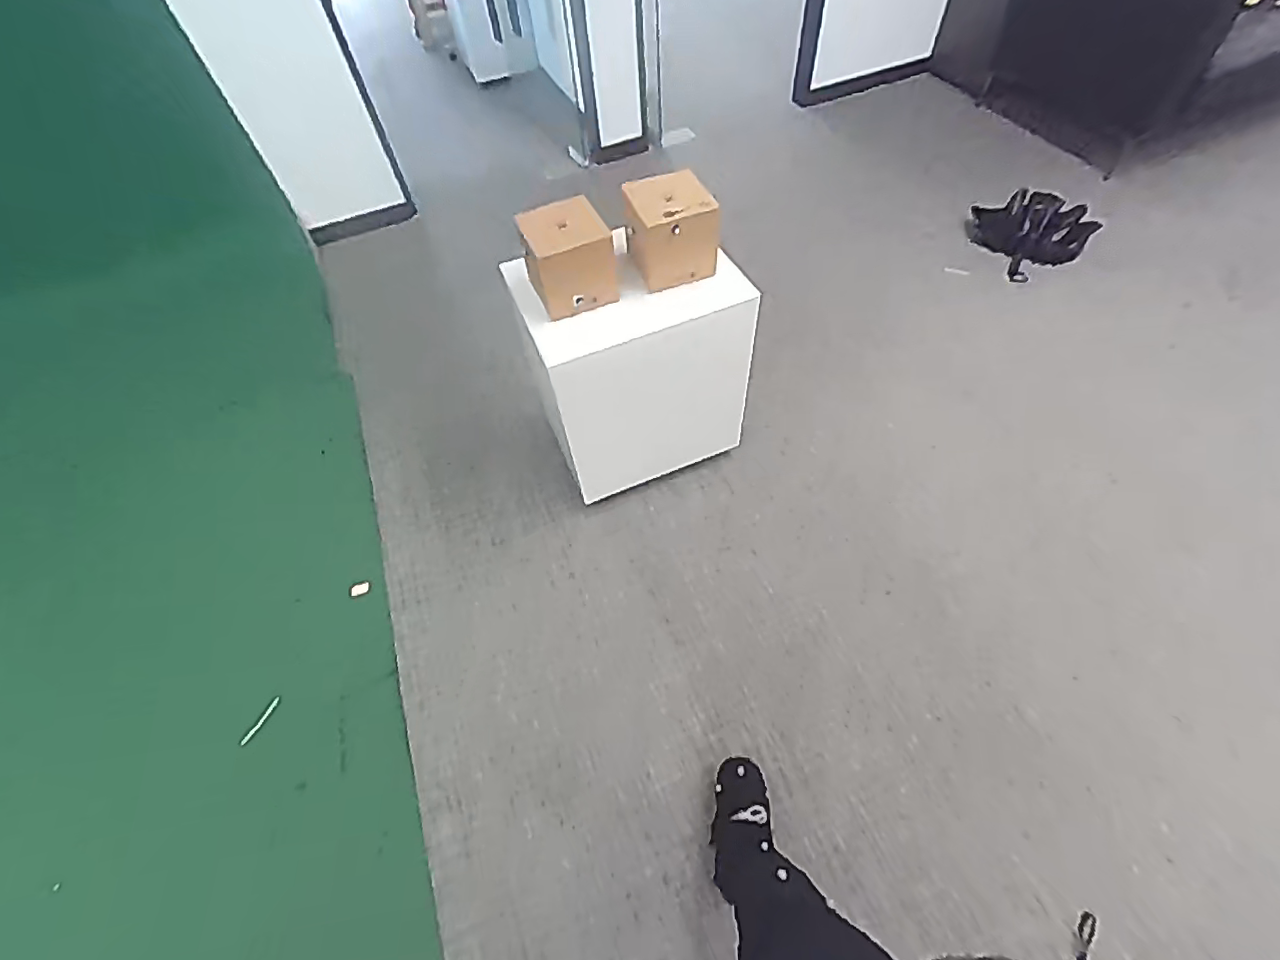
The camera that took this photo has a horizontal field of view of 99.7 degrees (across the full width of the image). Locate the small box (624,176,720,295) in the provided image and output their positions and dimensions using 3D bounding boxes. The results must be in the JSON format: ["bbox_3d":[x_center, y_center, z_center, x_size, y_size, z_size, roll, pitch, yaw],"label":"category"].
[{"bbox_3d":[0.069,-0.553,1.231,0.168,0.176,0.179,-18,56,-7],"label":"small box"}]

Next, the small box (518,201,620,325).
[{"bbox_3d":[-0.154,-0.479,1.202,0.168,0.176,0.179,-22,59,-10],"label":"small box"}]
